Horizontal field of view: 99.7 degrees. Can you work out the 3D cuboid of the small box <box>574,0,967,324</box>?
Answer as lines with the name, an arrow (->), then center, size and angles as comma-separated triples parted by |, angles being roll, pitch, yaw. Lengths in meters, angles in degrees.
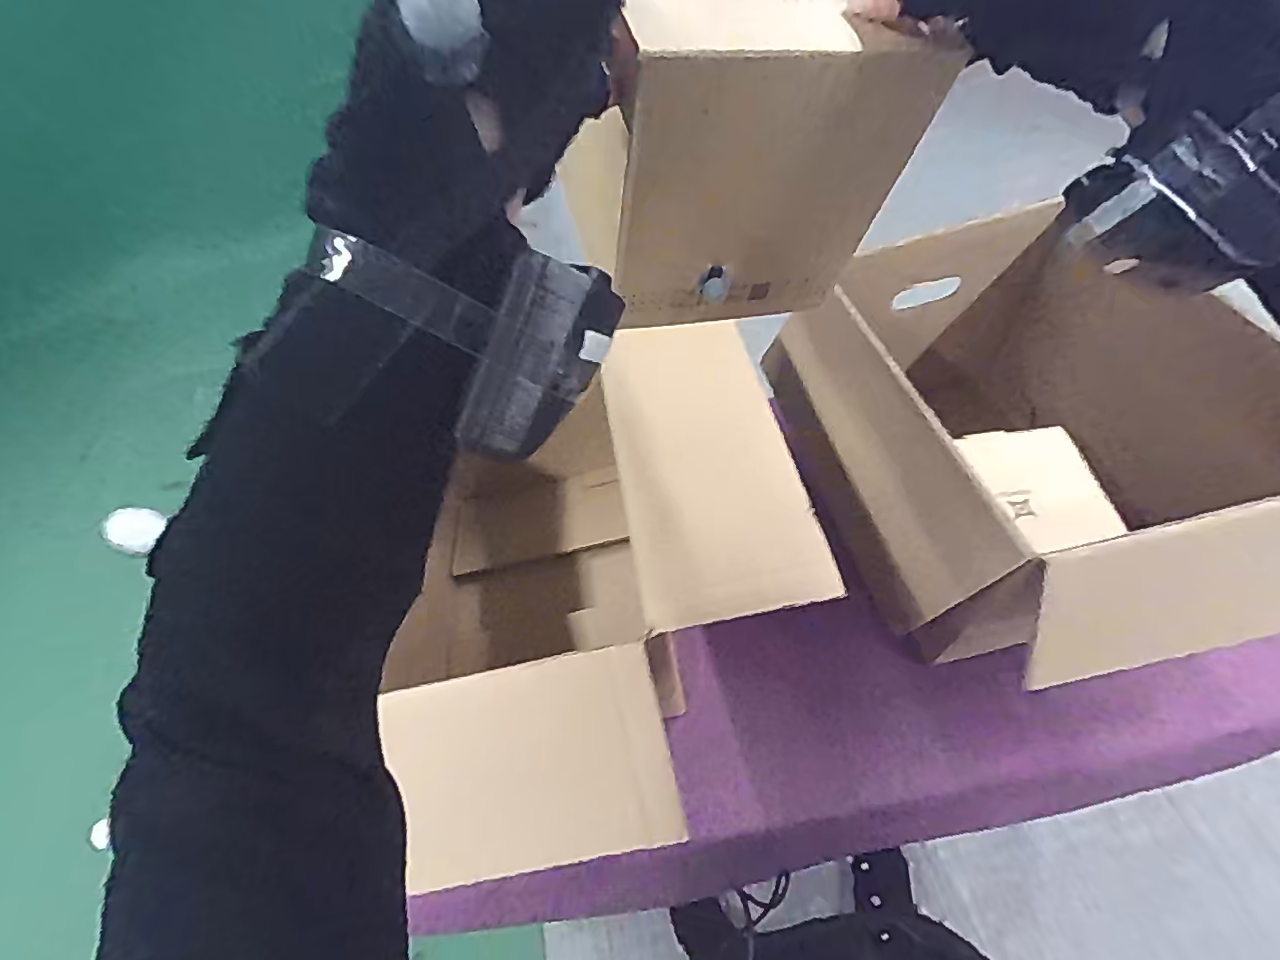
small box -> 0.051, -0.228, 0.350 | 0.168, 0.176, 0.179 | -9, 64, -12
